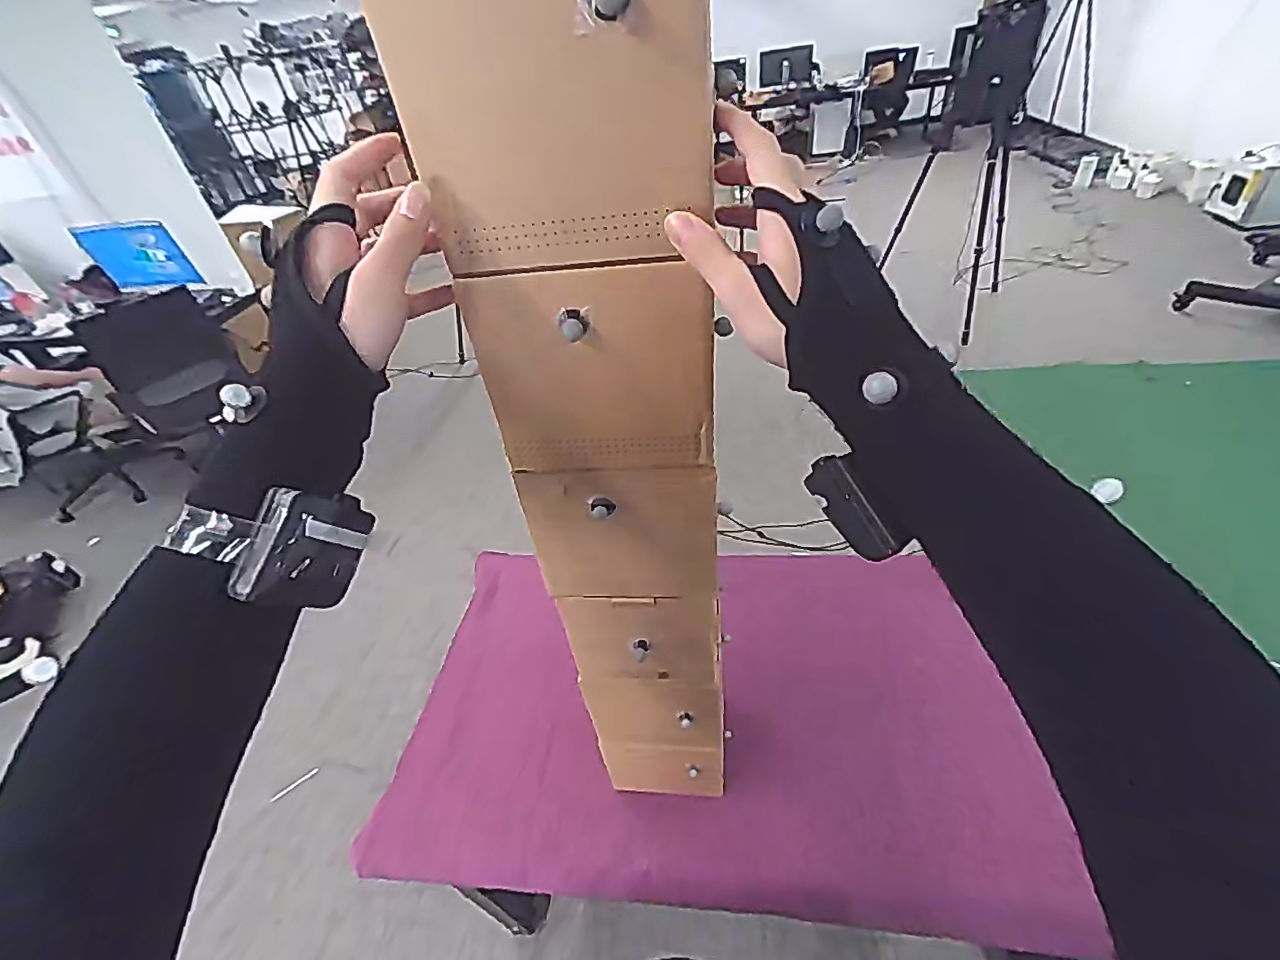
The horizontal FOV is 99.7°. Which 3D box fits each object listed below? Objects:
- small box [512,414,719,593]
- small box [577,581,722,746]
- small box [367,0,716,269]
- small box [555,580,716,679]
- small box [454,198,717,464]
[{"bbox_3d":[-0.009,0.002,0.560,0.179,0.176,0.168,-1,39,8],"label":"small box"},{"bbox_3d":[0.026,0.255,0.764,0.179,0.176,0.168,-1,39,10],"label":"small box"},{"bbox_3d":[-0.039,-0.253,0.358,0.179,0.176,0.168,-1,39,9],"label":"small box"},{"bbox_3d":[0.008,0.126,0.666,0.168,0.176,0.179,-1,40,8],"label":"small box"},{"bbox_3d":[-0.023,-0.126,0.460,0.179,0.176,0.168,-2,39,9],"label":"small box"}]
